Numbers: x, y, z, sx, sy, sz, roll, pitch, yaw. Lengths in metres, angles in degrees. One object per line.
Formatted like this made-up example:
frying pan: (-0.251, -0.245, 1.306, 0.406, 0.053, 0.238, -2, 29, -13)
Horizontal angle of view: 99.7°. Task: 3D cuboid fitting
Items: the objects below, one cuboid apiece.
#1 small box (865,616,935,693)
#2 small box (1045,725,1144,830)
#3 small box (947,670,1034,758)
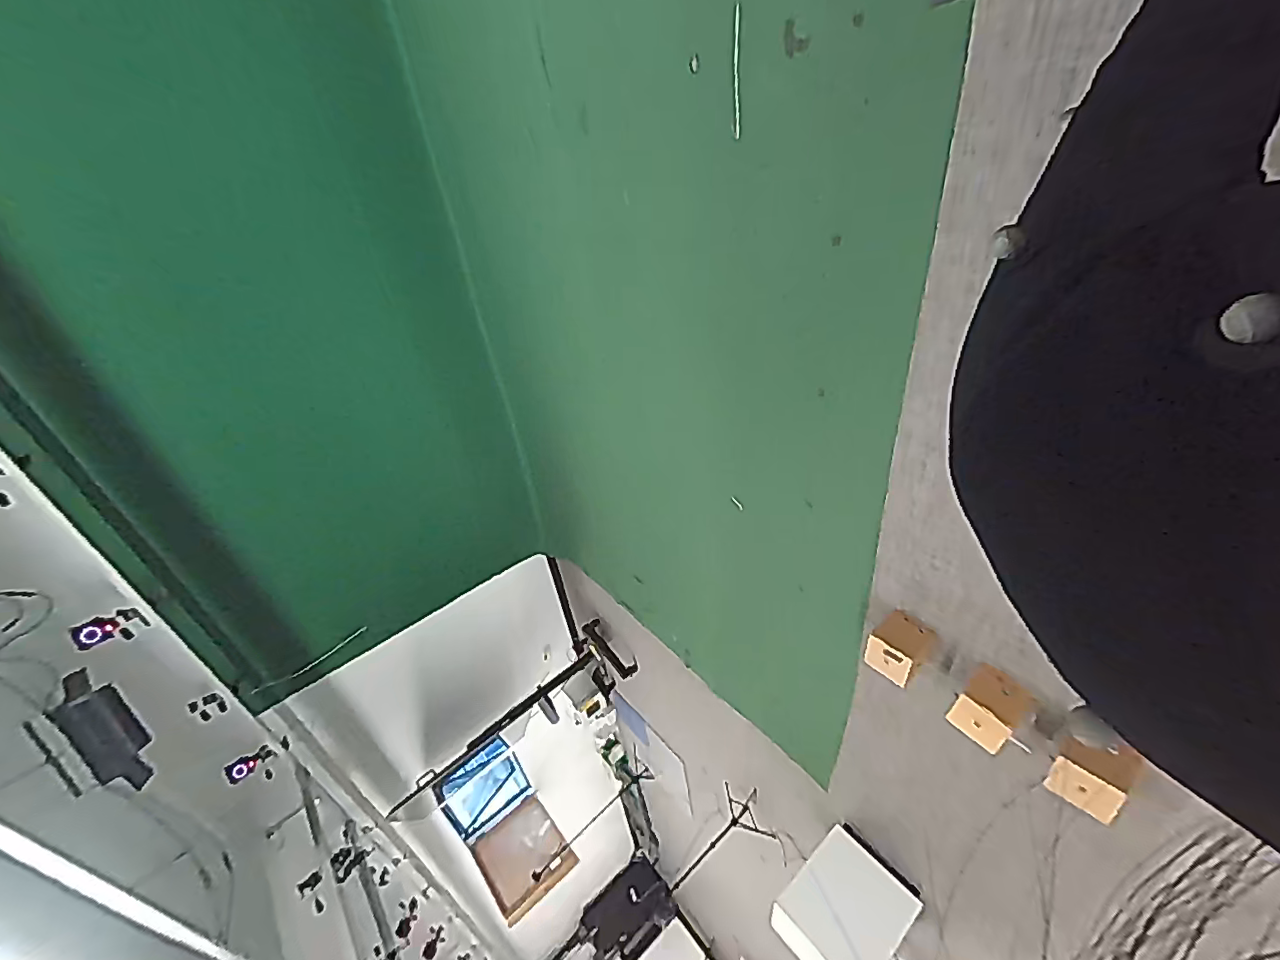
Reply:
small box: (0.968, 0.640, 2.009, 0.168, 0.176, 0.179, 32, 142, 41)
small box: (1.350, 0.876, 1.606, 0.168, 0.176, 0.179, 26, 135, 44)
small box: (1.172, 0.777, 1.805, 0.168, 0.176, 0.179, 36, 143, 38)
